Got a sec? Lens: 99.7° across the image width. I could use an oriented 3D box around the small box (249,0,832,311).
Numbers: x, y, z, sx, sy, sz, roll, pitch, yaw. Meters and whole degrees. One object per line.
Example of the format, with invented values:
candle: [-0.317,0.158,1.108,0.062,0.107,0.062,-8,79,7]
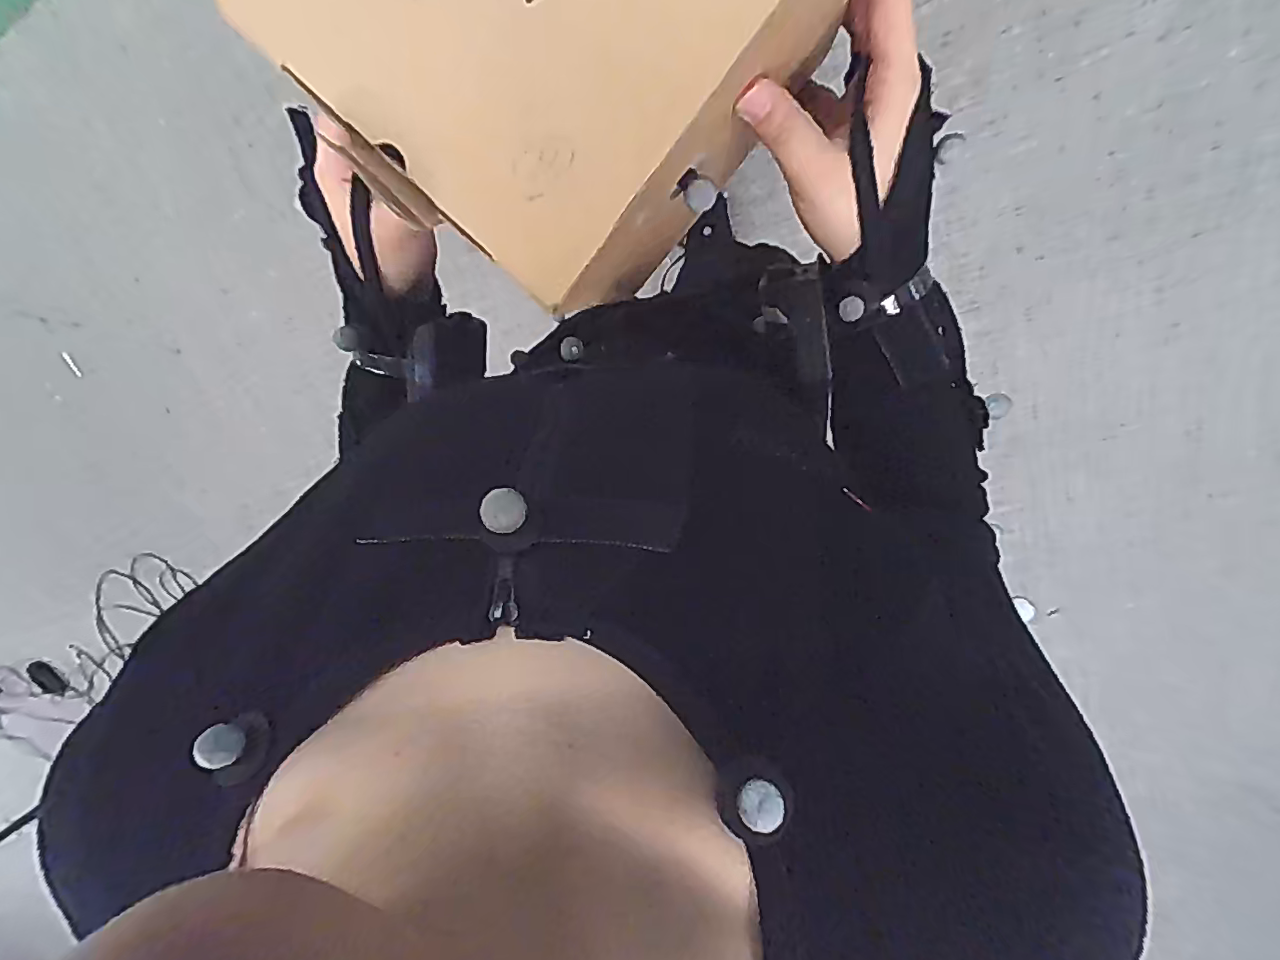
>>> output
small box: [-0.023,-0.206,0.257,0.168,0.176,0.179,41,113,-6]
